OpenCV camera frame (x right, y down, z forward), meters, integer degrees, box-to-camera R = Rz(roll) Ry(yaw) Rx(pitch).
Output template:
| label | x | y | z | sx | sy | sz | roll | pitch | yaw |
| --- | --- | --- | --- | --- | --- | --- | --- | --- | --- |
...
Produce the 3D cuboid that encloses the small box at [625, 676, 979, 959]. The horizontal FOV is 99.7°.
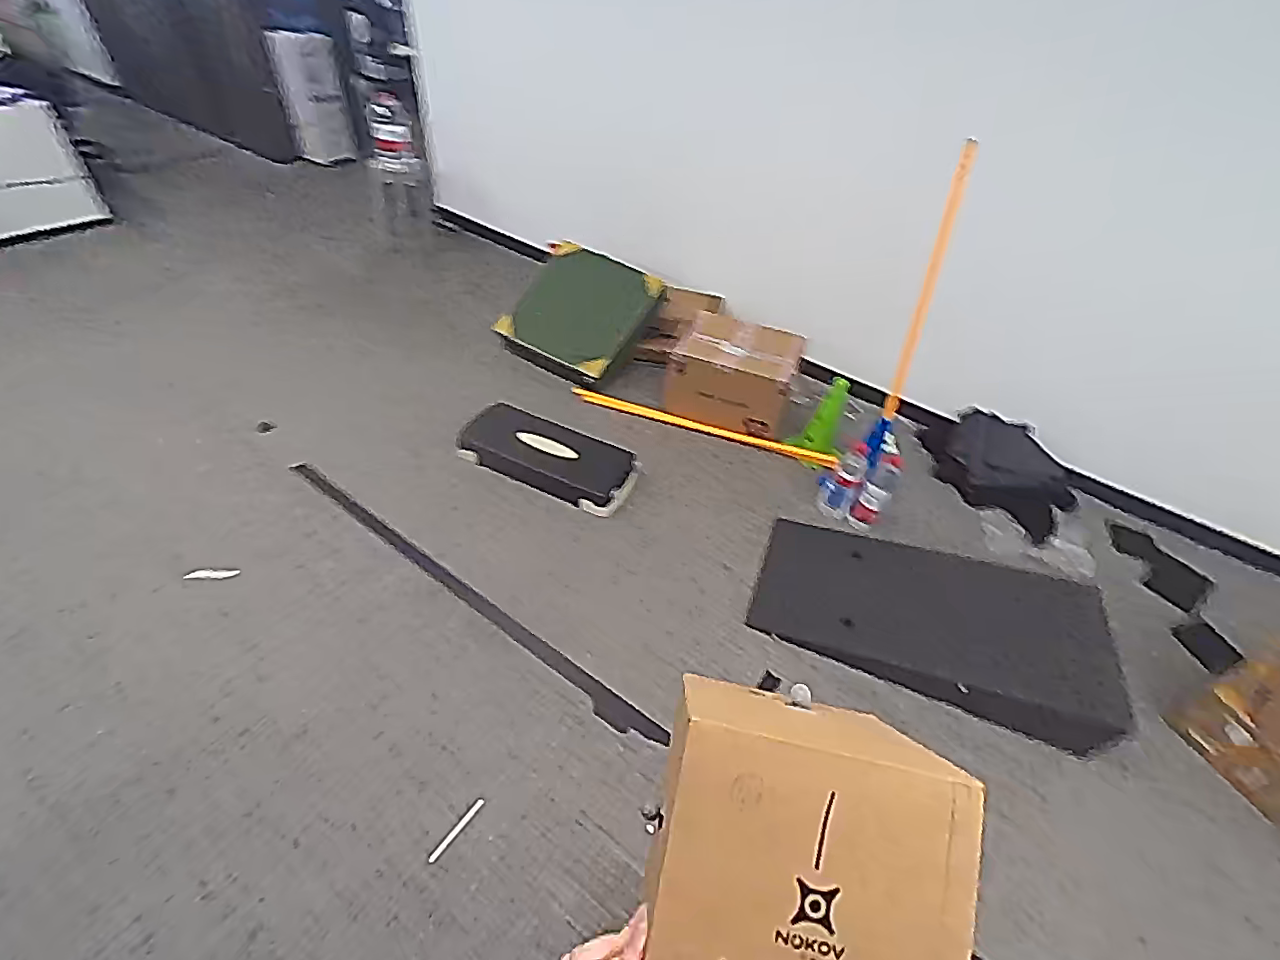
| label | x | y | z | sx | sy | sz | roll | pitch | yaw |
| --- | --- | --- | --- | --- | --- | --- | --- | --- | --- |
| small box | 0.088 | 0.245 | 0.358 | 0.168 | 0.176 | 0.179 | 11 | 78 | 5 |
